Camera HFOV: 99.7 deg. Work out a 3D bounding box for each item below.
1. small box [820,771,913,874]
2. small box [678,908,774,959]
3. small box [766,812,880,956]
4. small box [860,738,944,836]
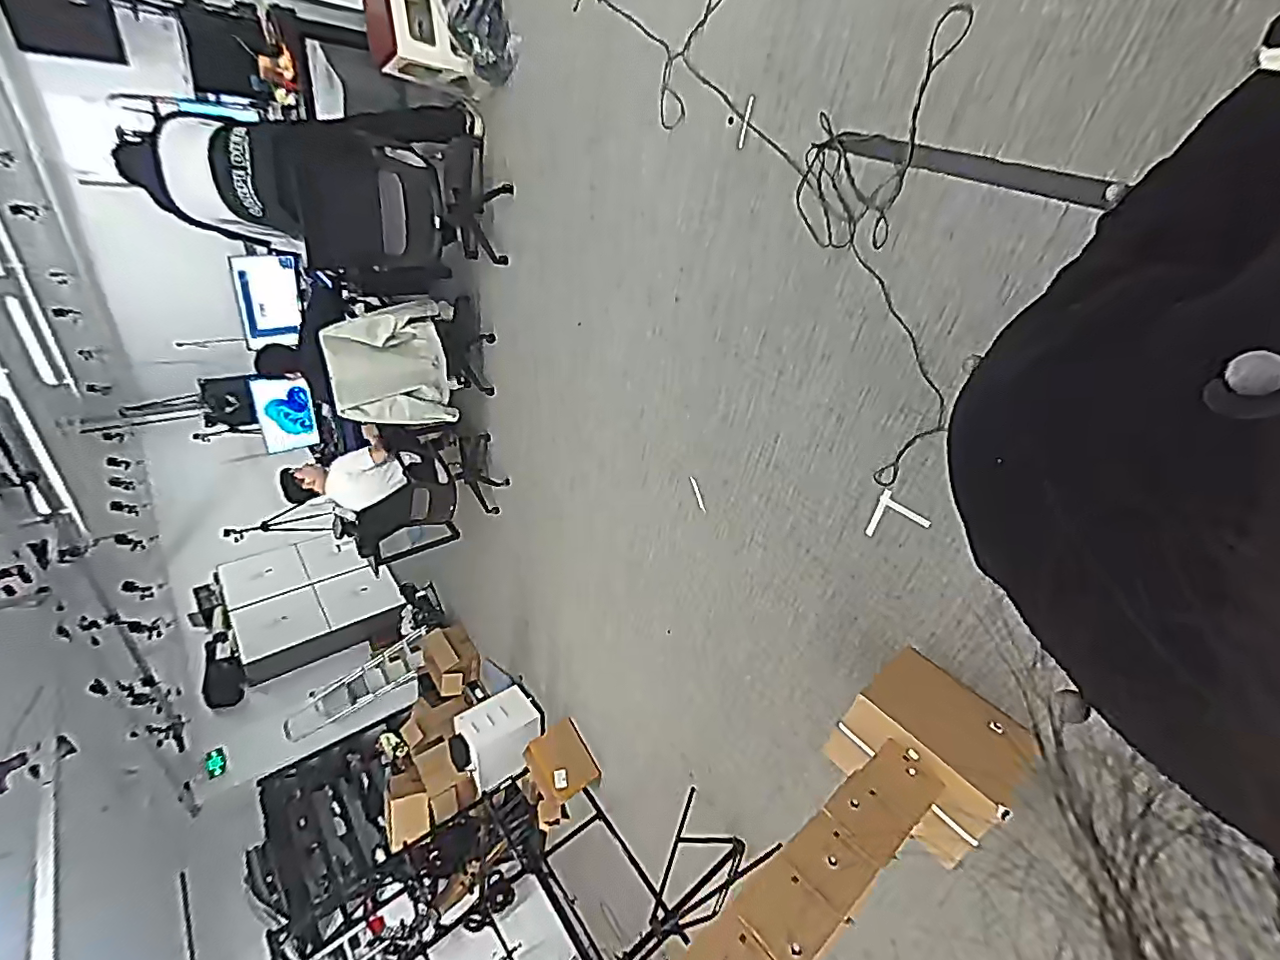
[{"bbox_3d":[0.545,0.868,1.340,0.168,0.176,0.179,37,132,39],"label":"small box"},{"bbox_3d":[0.170,0.993,1.046,0.168,0.176,0.179,29,125,44],"label":"small box"},{"bbox_3d":[0.421,0.915,1.242,0.168,0.176,0.179,33,129,42],"label":"small box"},{"bbox_3d":[0.671,0.834,1.436,0.168,0.176,0.179,37,131,37],"label":"small box"}]
